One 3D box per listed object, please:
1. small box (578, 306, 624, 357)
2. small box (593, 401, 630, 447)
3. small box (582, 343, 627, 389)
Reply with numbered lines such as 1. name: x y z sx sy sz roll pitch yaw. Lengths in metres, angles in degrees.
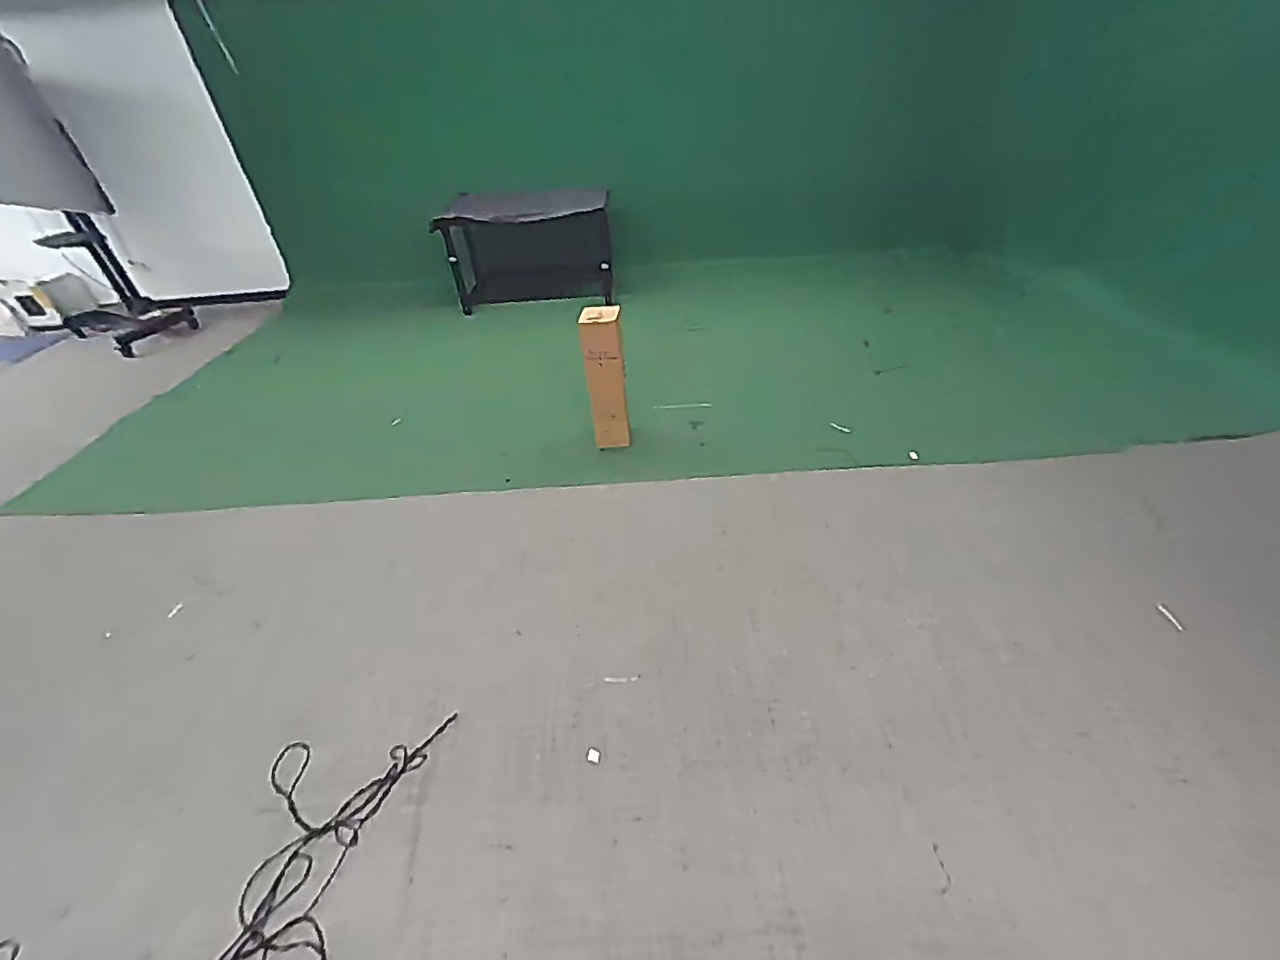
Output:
1. small box: -0.167 -0.654 2.393 0.168 0.176 0.179 -1 37 7
2. small box: -0.138 -0.275 2.708 0.168 0.176 0.179 -3 37 3
3. small box: -0.159 -0.531 2.502 0.179 0.176 0.168 -1 38 5
